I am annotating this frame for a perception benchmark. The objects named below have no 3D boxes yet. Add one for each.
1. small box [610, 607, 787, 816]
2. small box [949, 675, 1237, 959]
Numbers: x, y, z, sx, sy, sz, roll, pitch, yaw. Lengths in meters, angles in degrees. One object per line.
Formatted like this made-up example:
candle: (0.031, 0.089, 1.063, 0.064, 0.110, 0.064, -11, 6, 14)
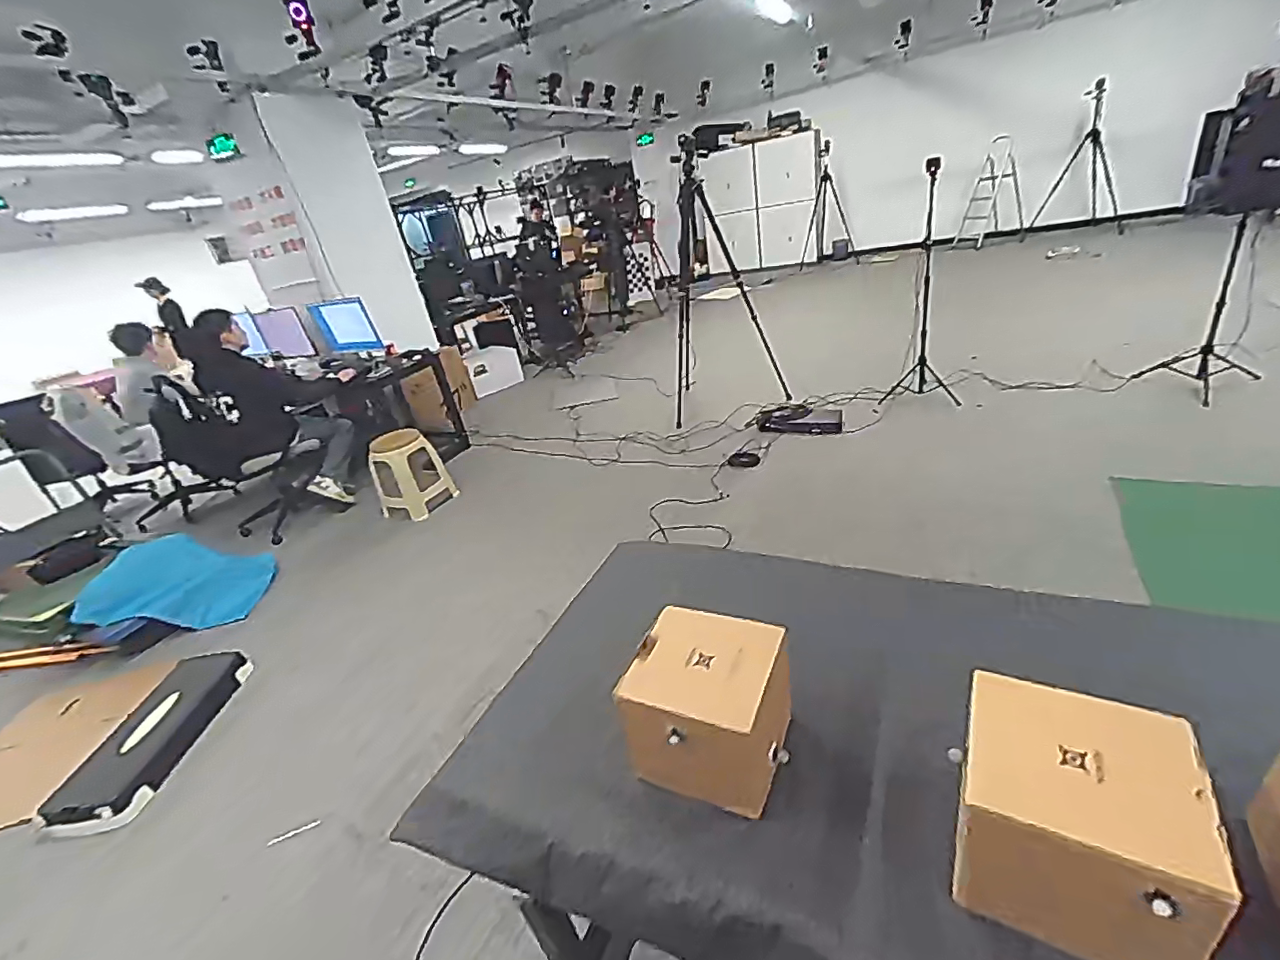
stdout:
small box: (0.086, 0.297, 0.709, 0.179, 0.176, 0.168, 5, 31, 27)
small box: (0.408, 0.329, 0.522, 0.179, 0.176, 0.168, 7, 31, 31)
